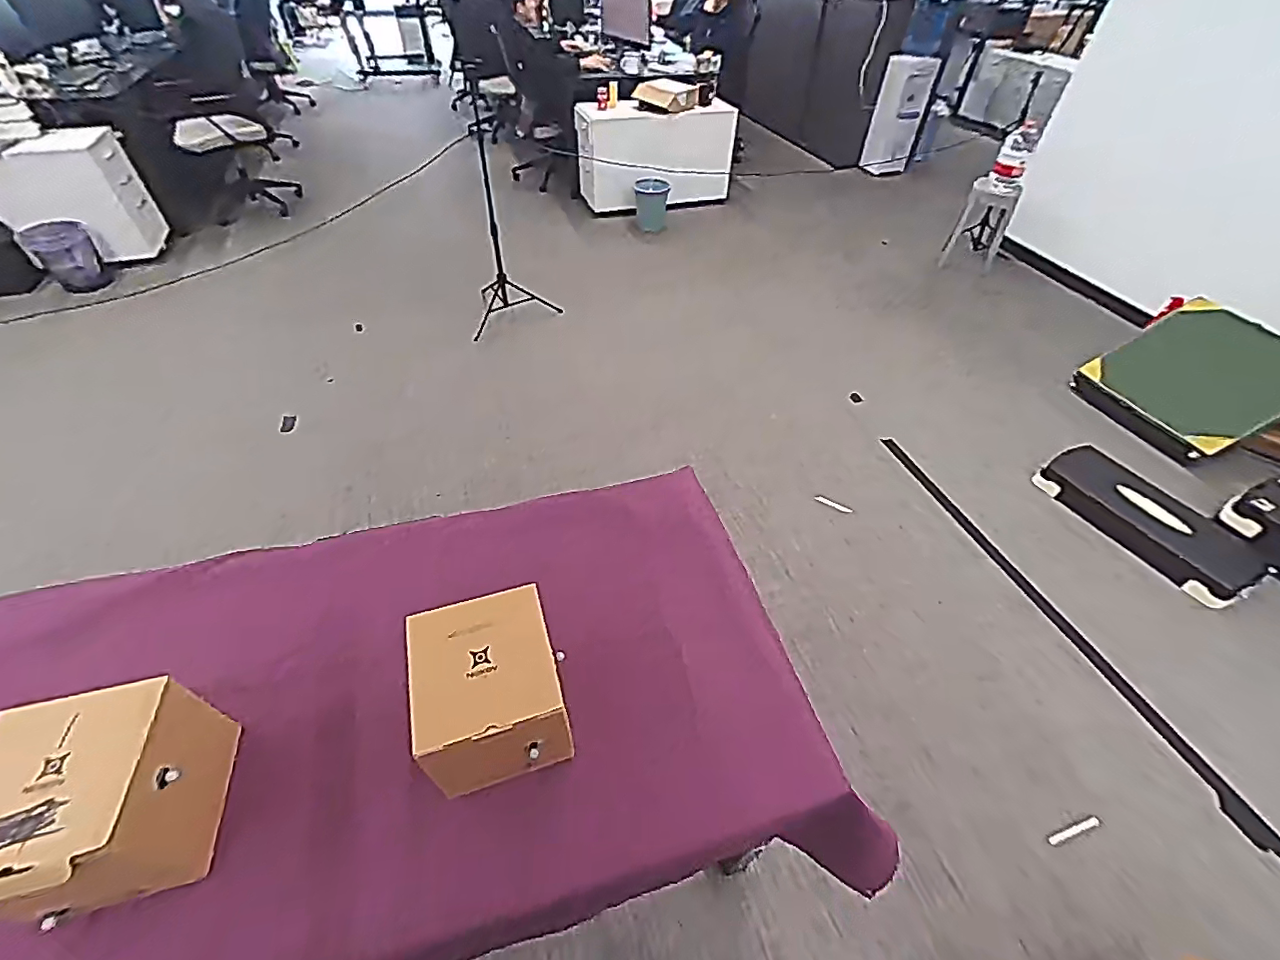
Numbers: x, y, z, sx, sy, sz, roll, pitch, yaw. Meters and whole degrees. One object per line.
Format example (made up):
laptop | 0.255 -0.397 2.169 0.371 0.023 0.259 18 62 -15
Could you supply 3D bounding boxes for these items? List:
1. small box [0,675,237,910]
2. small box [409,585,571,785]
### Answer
small box | -0.594 0.351 0.604 0.168 0.176 0.179 -10 47 -12
small box | -0.190 0.269 0.699 0.168 0.176 0.179 -12 48 -14
